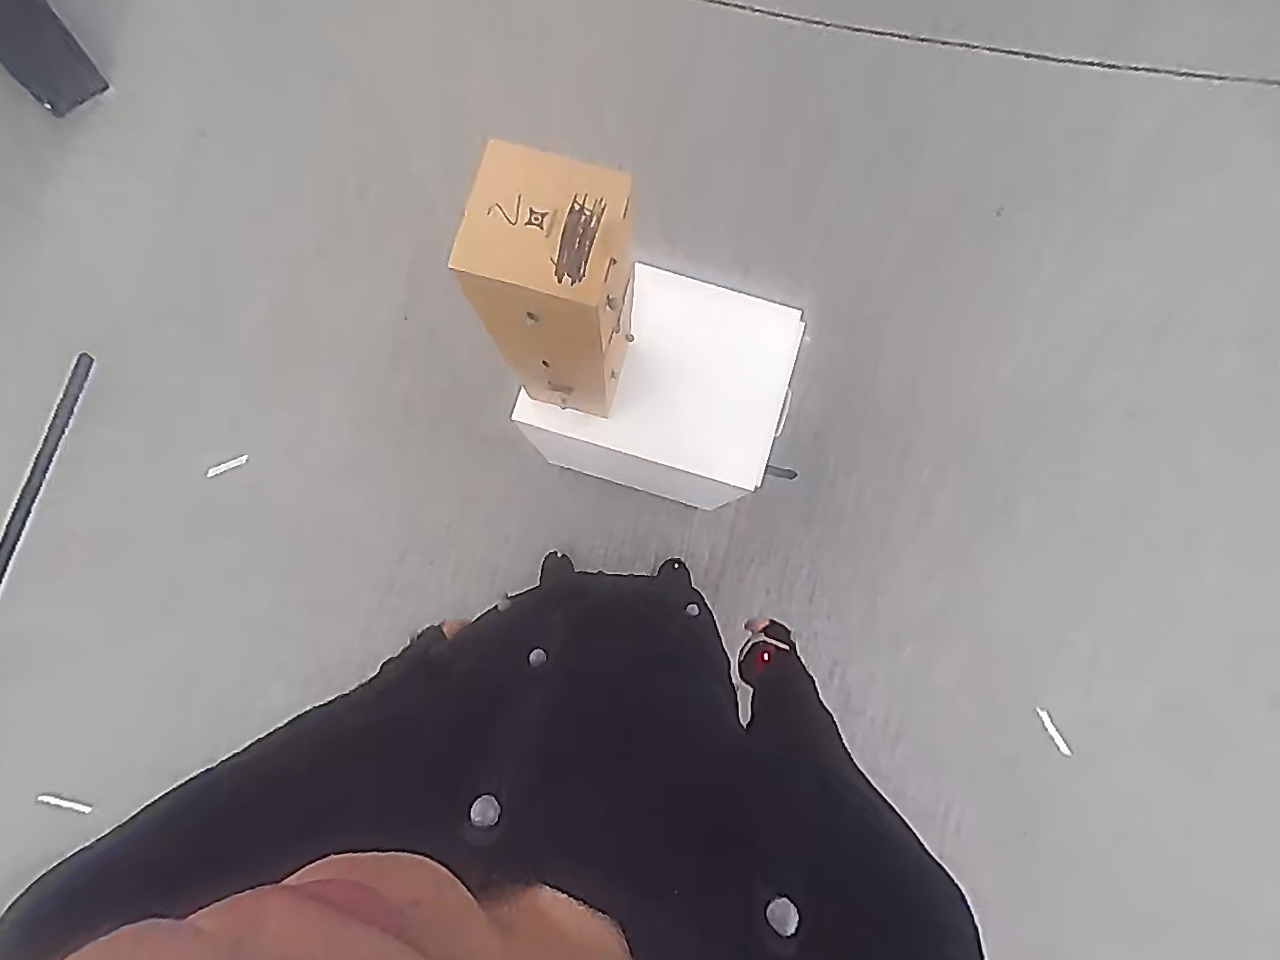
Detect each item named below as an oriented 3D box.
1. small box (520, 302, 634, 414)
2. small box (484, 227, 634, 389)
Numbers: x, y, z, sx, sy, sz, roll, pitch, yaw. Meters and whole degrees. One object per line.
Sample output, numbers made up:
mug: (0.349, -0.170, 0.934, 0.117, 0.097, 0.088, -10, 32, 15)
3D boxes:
small box: (-0.116, -0.241, 1.007, 0.168, 0.176, 0.179, 16, 83, 1)
small box: (-0.115, -0.254, 0.843, 0.179, 0.176, 0.168, 16, 83, 1)
